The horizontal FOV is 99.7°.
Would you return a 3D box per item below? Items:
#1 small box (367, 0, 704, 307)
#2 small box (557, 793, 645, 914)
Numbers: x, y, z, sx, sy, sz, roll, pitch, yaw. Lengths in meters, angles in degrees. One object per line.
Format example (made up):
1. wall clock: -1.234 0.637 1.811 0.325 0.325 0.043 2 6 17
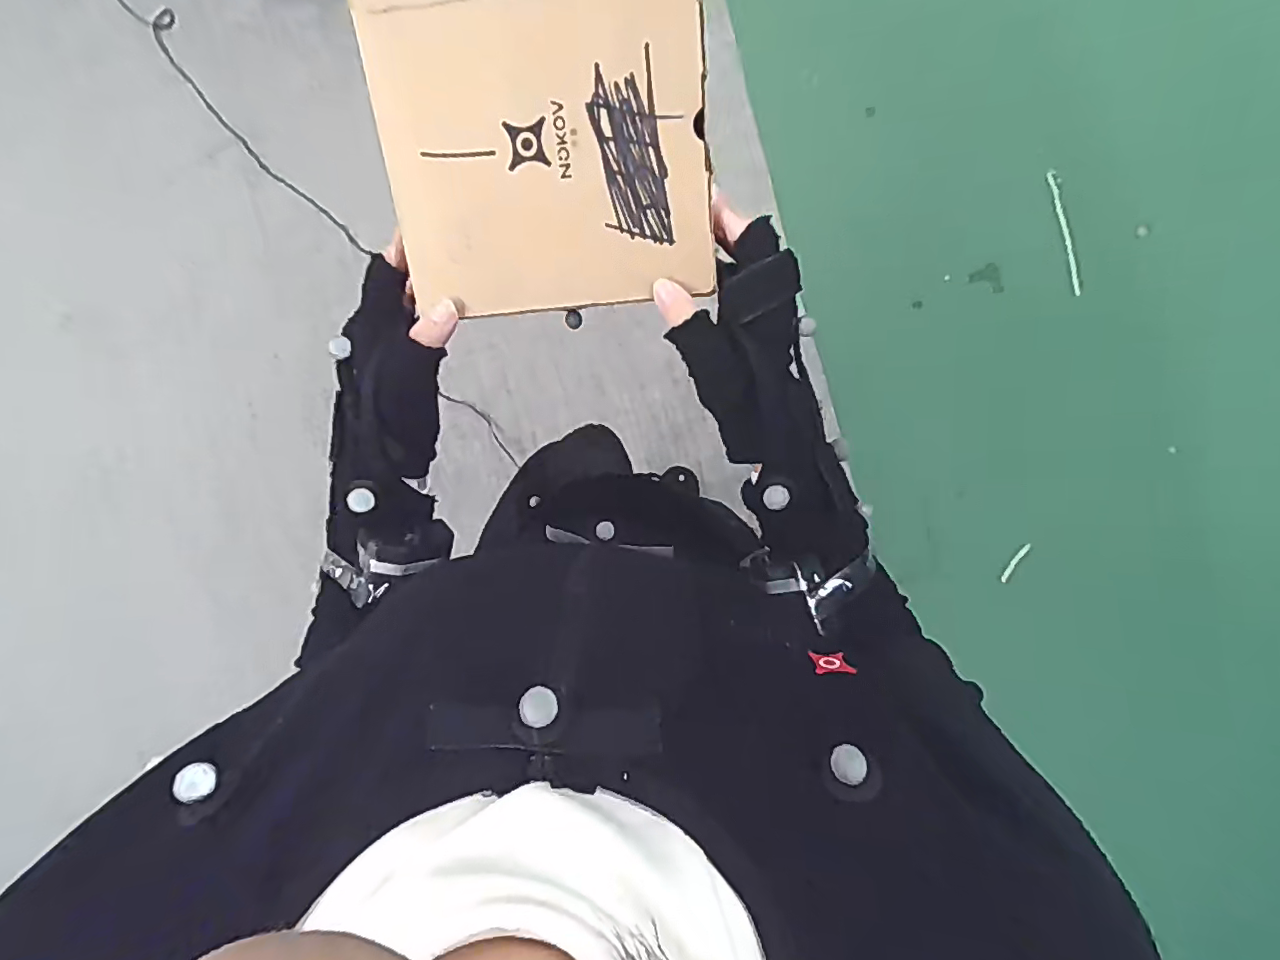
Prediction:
1. small box: -0.050 -0.217 0.382 0.179 0.176 0.168 -3 109 5
2. small box: -0.091 0.921 1.355 0.168 0.176 0.179 -19 93 5
